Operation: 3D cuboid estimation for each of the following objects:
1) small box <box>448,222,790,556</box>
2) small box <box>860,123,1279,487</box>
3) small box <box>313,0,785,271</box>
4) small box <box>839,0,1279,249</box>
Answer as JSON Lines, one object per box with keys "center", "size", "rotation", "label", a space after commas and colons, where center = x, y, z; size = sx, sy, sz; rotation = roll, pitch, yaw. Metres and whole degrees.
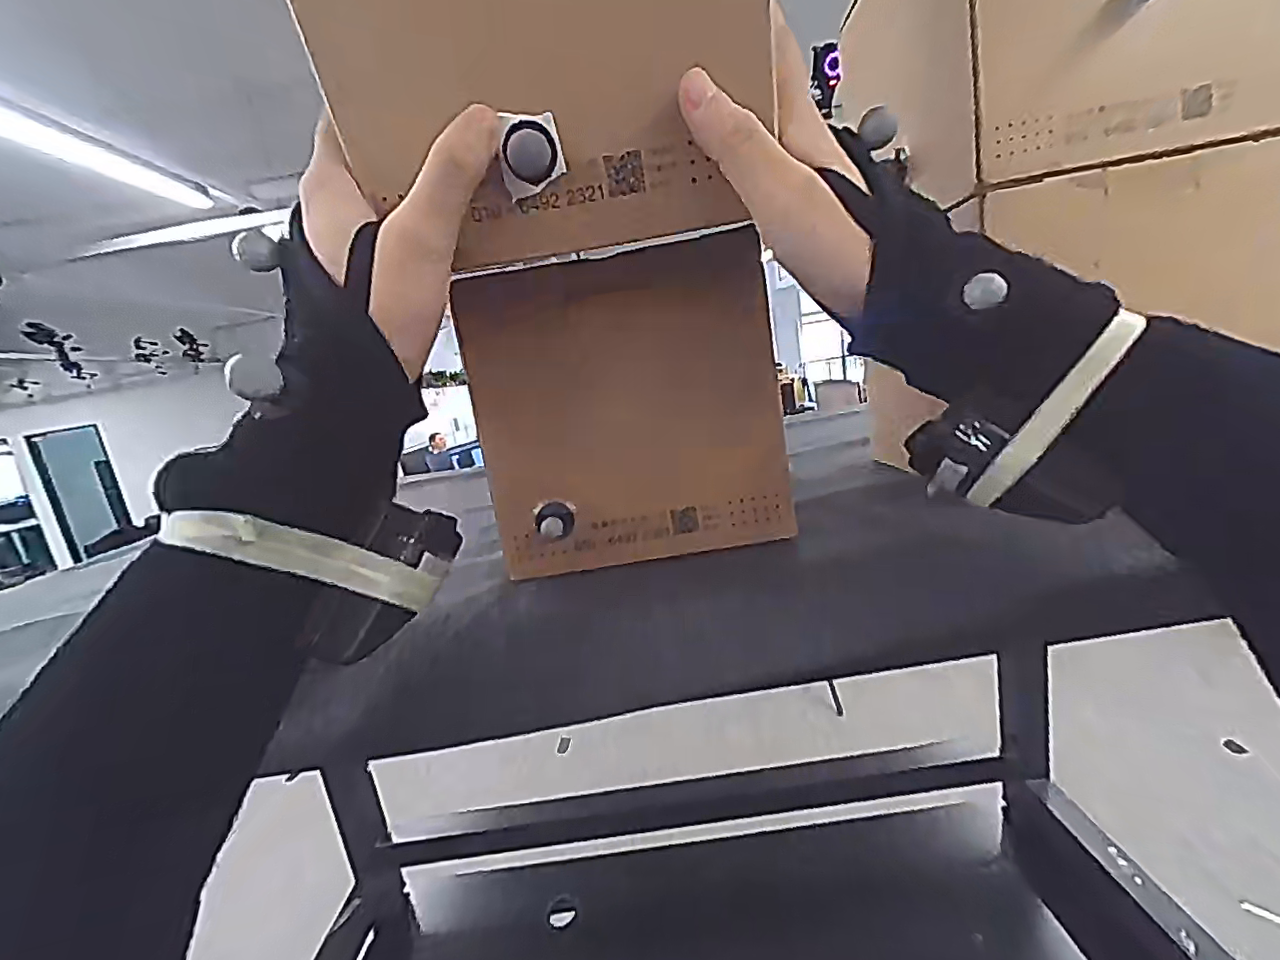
{"center": [-0.006, -0.053, 0.370], "size": [0.168, 0.176, 0.179], "rotation": [-9, 9, 2], "label": "small box"}
{"center": [0.266, -0.098, 0.362], "size": [0.168, 0.176, 0.179], "rotation": [-10, 10, 3], "label": "small box"}
{"center": [-0.037, -0.205, 0.251], "size": [0.168, 0.176, 0.179], "rotation": [-10, 30, 2], "label": "small box"}
{"center": [0.240, -0.257, 0.333], "size": [0.168, 0.176, 0.179], "rotation": [-9, 11, 4], "label": "small box"}
